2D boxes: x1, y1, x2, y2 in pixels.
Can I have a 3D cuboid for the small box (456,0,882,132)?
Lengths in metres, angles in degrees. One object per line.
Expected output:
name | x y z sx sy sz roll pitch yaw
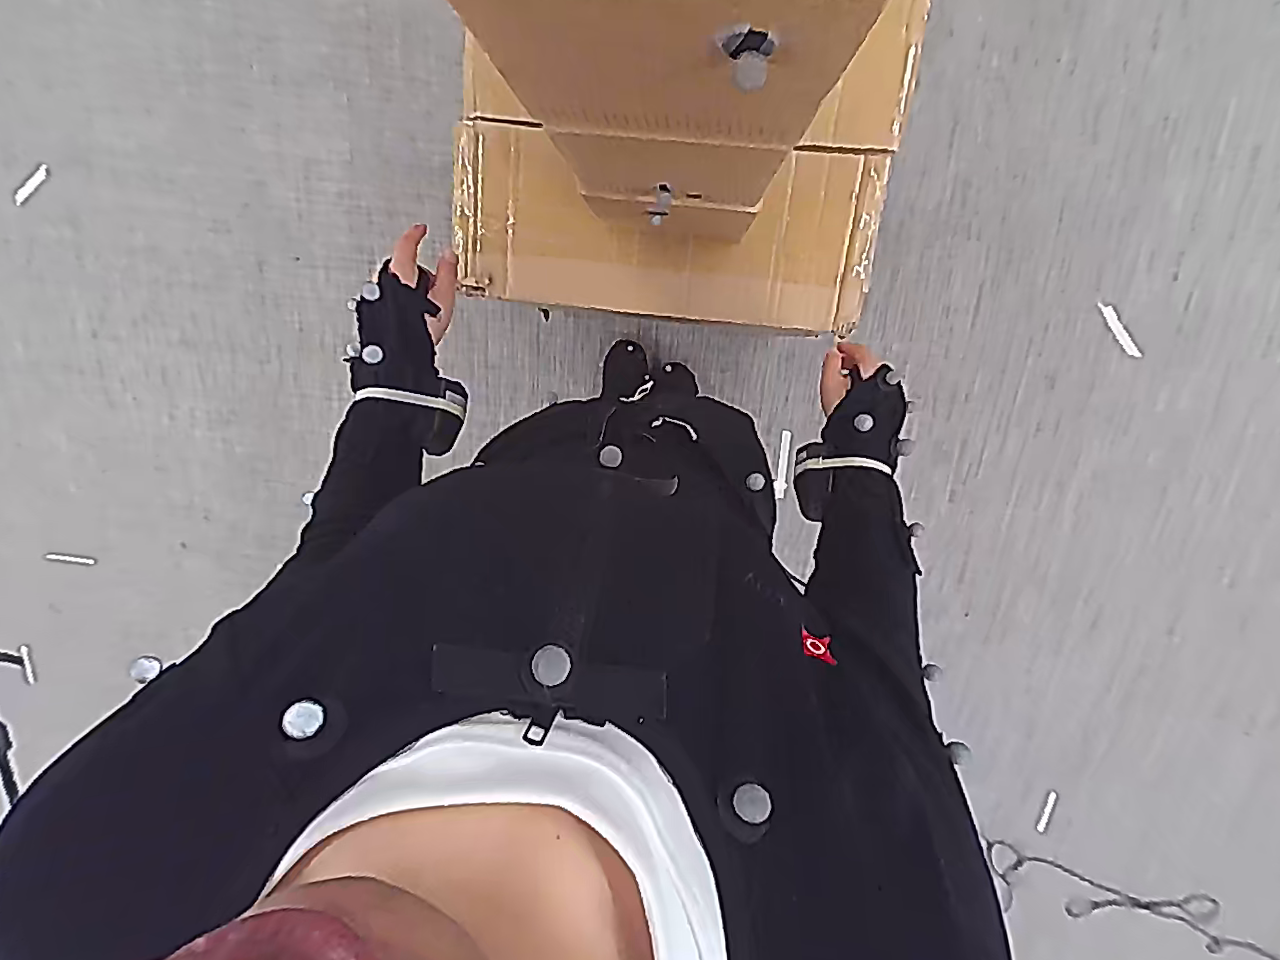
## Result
small box | 0.018 -0.283 0.247 0.179 0.176 0.168 7 106 3

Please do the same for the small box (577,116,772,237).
small box | 0.041 -0.361 0.566 0.179 0.176 0.168 7 106 2
